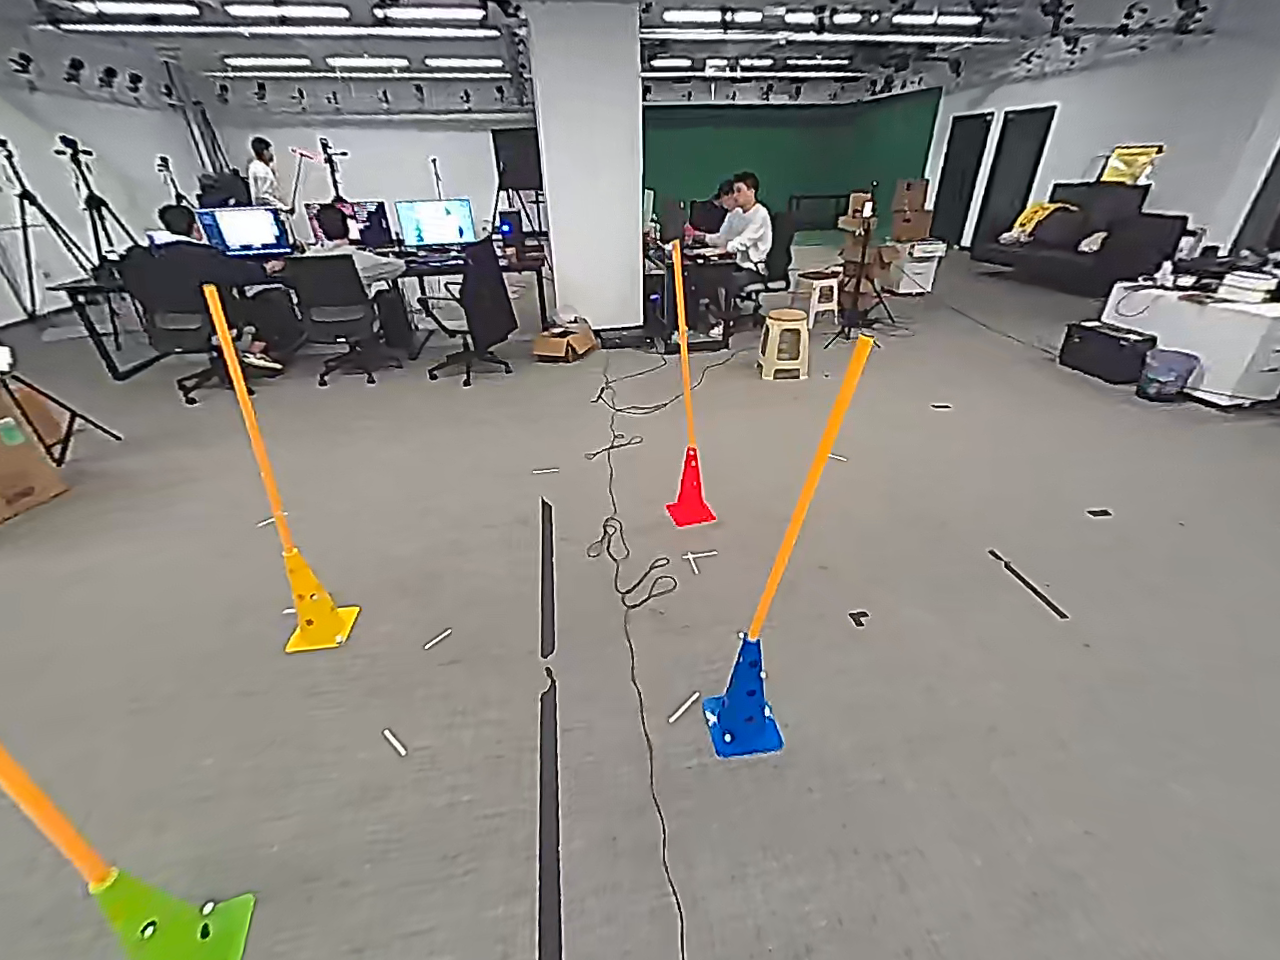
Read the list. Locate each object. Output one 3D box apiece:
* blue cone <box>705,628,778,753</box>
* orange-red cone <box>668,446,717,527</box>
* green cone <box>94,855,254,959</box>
[{"bbox_3d":[0.297,0.576,1.524,0.193,0.380,0.192,-4,29,-5],"label":"blue cone"},{"bbox_3d":[0.241,0.013,2.481,0.199,0.360,0.198,-9,30,-11],"label":"orange-red cone"},{"bbox_3d":[-0.955,0.861,1.060,0.200,0.368,0.202,-11,29,-16],"label":"green cone"}]
